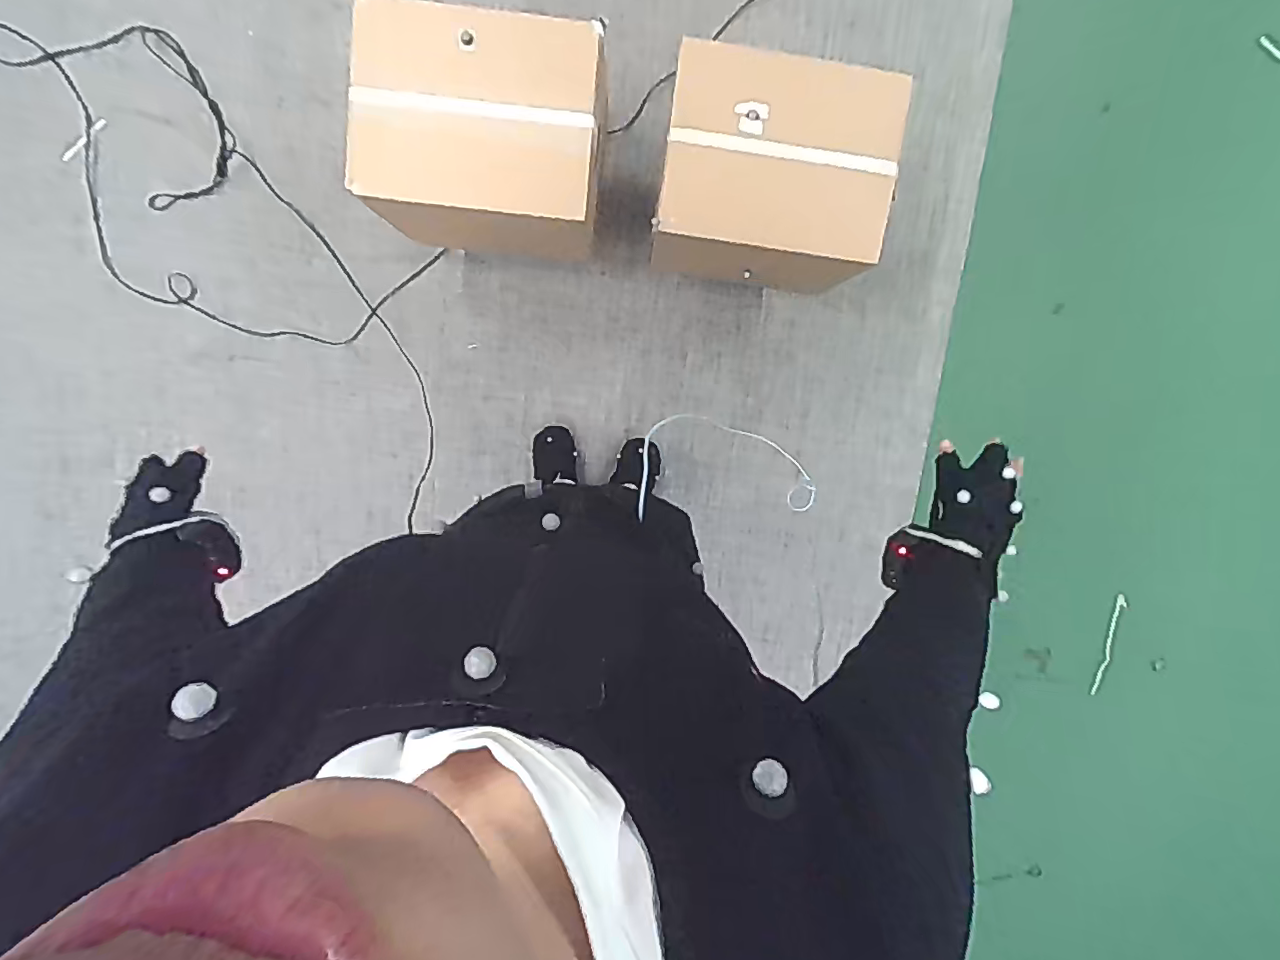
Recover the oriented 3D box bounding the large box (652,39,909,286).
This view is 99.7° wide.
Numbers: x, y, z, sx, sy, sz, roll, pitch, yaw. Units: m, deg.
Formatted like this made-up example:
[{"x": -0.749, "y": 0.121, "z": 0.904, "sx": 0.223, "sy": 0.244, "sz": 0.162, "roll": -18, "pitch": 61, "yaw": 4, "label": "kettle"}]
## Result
[{"x": 0.247, "y": -0.598, "z": 1.092, "sx": 0.408, "sy": 0.320, "sz": 0.320, "roll": 8, "pitch": 99, "yaw": -3, "label": "large box"}]
